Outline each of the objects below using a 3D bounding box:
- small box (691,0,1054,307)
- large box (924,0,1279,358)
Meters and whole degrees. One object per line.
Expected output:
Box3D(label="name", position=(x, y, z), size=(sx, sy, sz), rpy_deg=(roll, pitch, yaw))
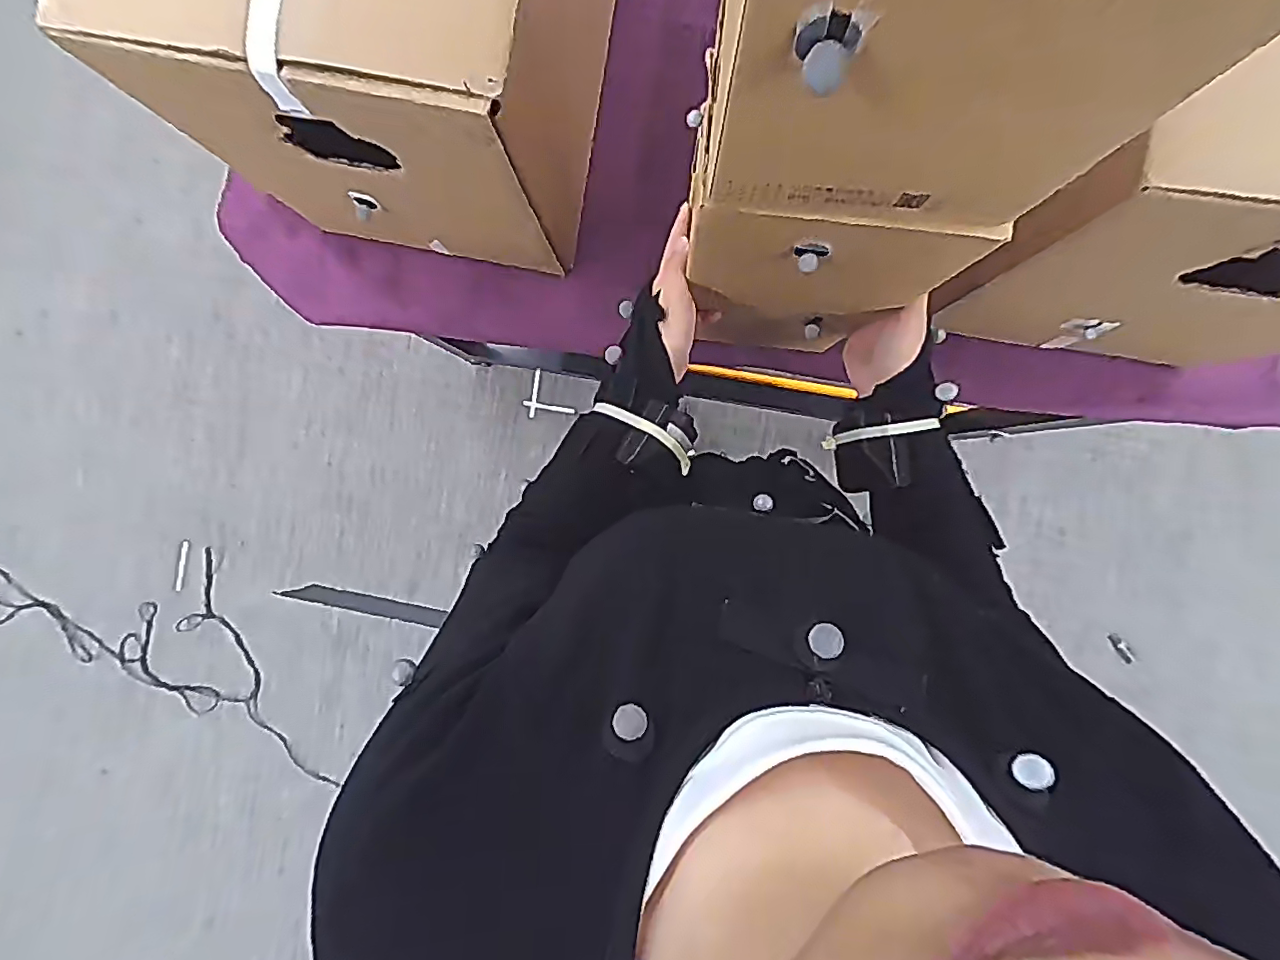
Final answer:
Box3D(label="small box", position=(0.132, -0.229, 0.371), size=(0.179, 0.176, 0.168), rpy_deg=(7, 92, 1))
Box3D(label="large box", position=(0.488, -0.348, 0.461), size=(0.320, 0.320, 0.408), rpy_deg=(9, 90, 2))
